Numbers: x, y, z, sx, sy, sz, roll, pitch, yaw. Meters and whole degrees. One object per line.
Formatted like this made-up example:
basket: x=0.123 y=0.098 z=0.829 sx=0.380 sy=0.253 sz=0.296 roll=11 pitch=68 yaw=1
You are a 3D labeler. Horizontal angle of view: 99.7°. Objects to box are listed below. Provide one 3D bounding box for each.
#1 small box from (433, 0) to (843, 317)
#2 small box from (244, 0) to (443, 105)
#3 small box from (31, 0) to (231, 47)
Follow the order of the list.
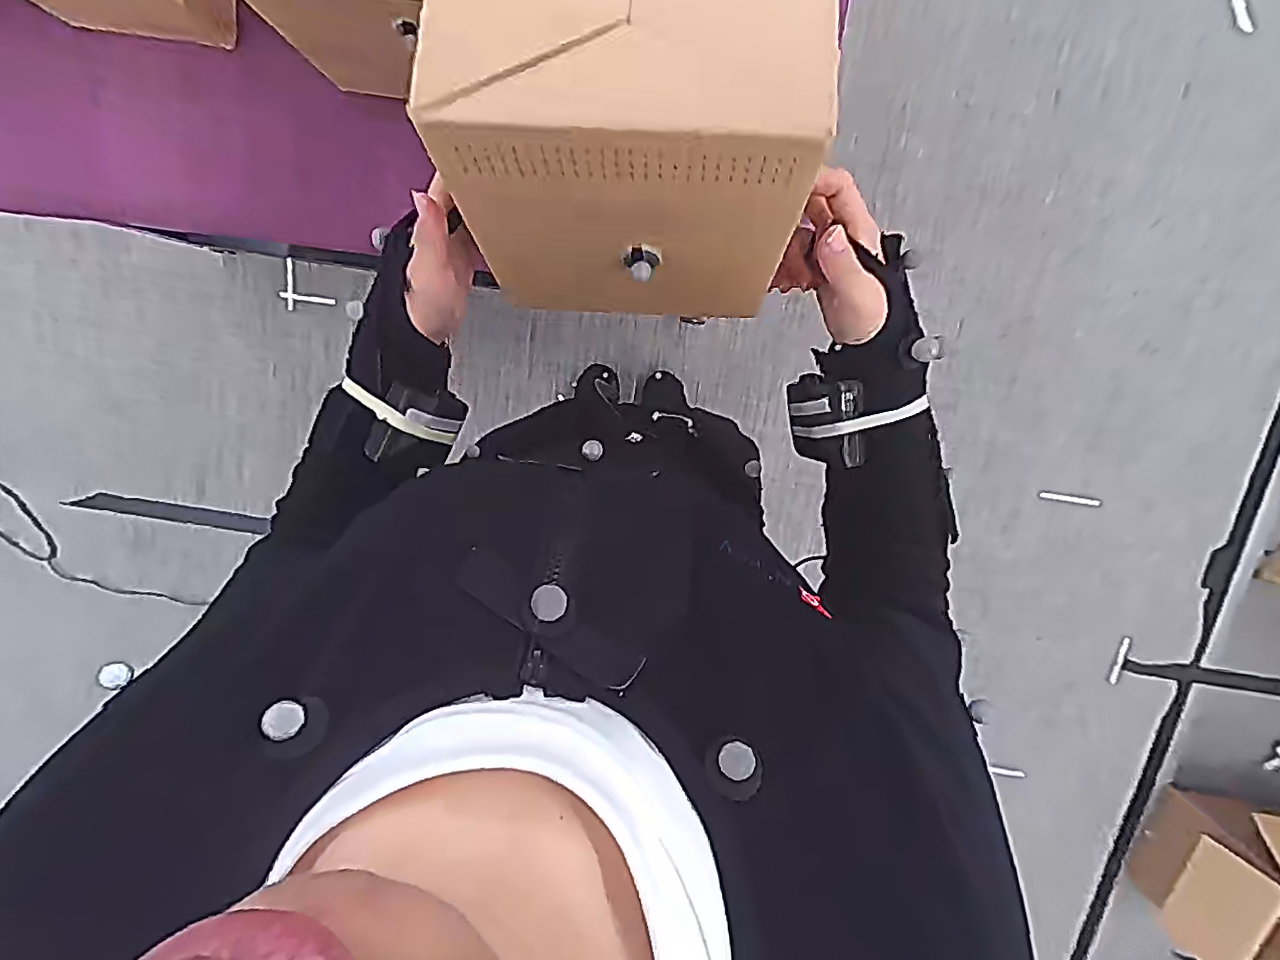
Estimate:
small box: x=-0.003 y=-0.208 z=0.307 sx=0.179 sy=0.176 sz=0.168 roll=3 pitch=83 yaw=2
small box: x=-0.211 y=-0.450 z=0.459 sx=0.179 sy=0.176 sz=0.168 roll=7 pitch=100 yaw=0
small box: x=-0.484 y=-0.511 z=0.457 sx=0.179 sy=0.176 sz=0.168 roll=8 pitch=102 yaw=0
